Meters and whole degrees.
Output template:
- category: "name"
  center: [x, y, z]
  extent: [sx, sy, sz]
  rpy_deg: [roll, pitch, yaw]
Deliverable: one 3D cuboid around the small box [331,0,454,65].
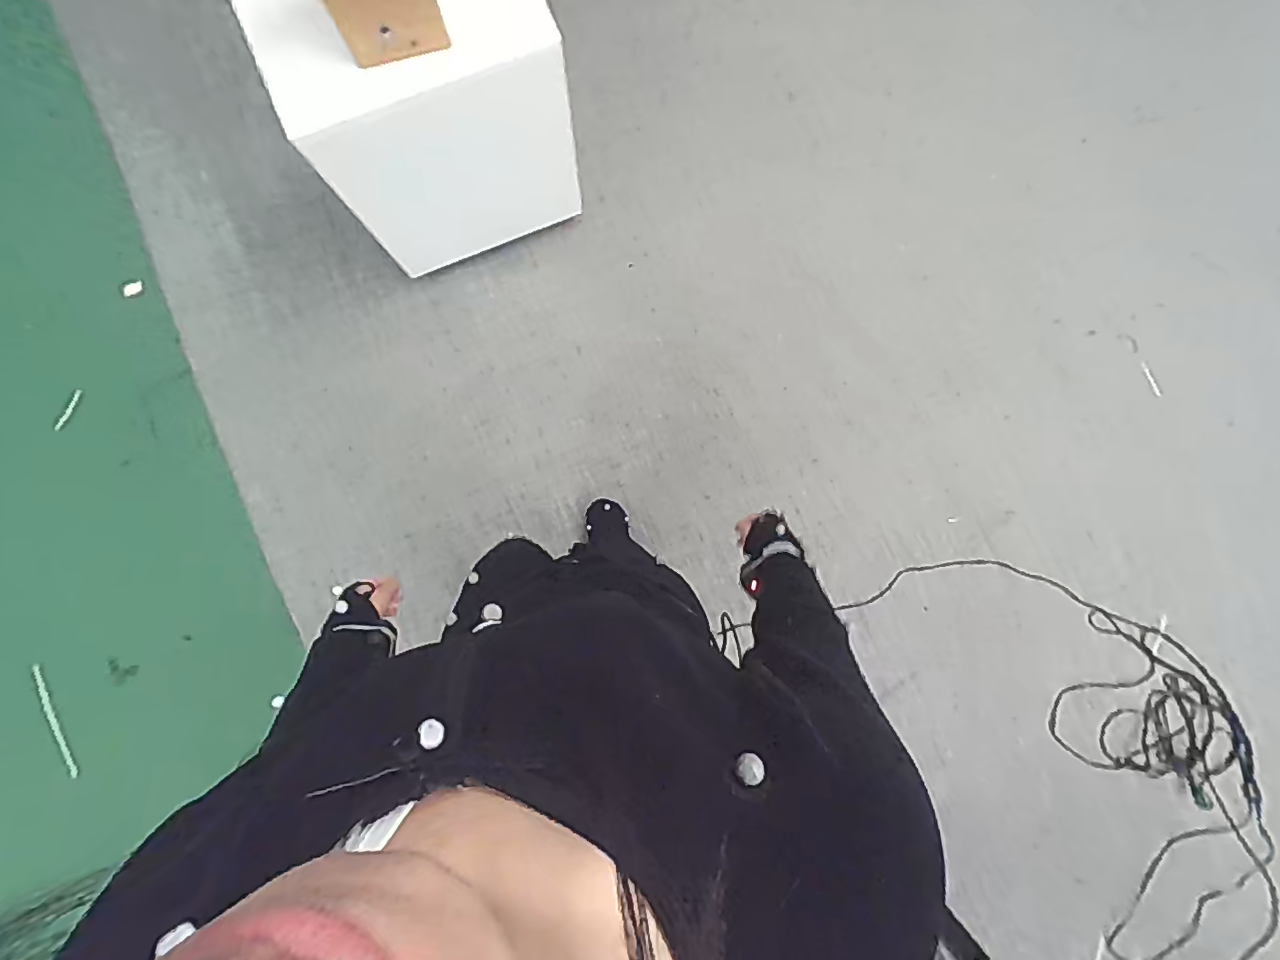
- category: "small box"
  center: [-0.420, -0.826, 0.866]
  extent: [0.168, 0.176, 0.179]
  rpy_deg: [-17, 87, -3]
